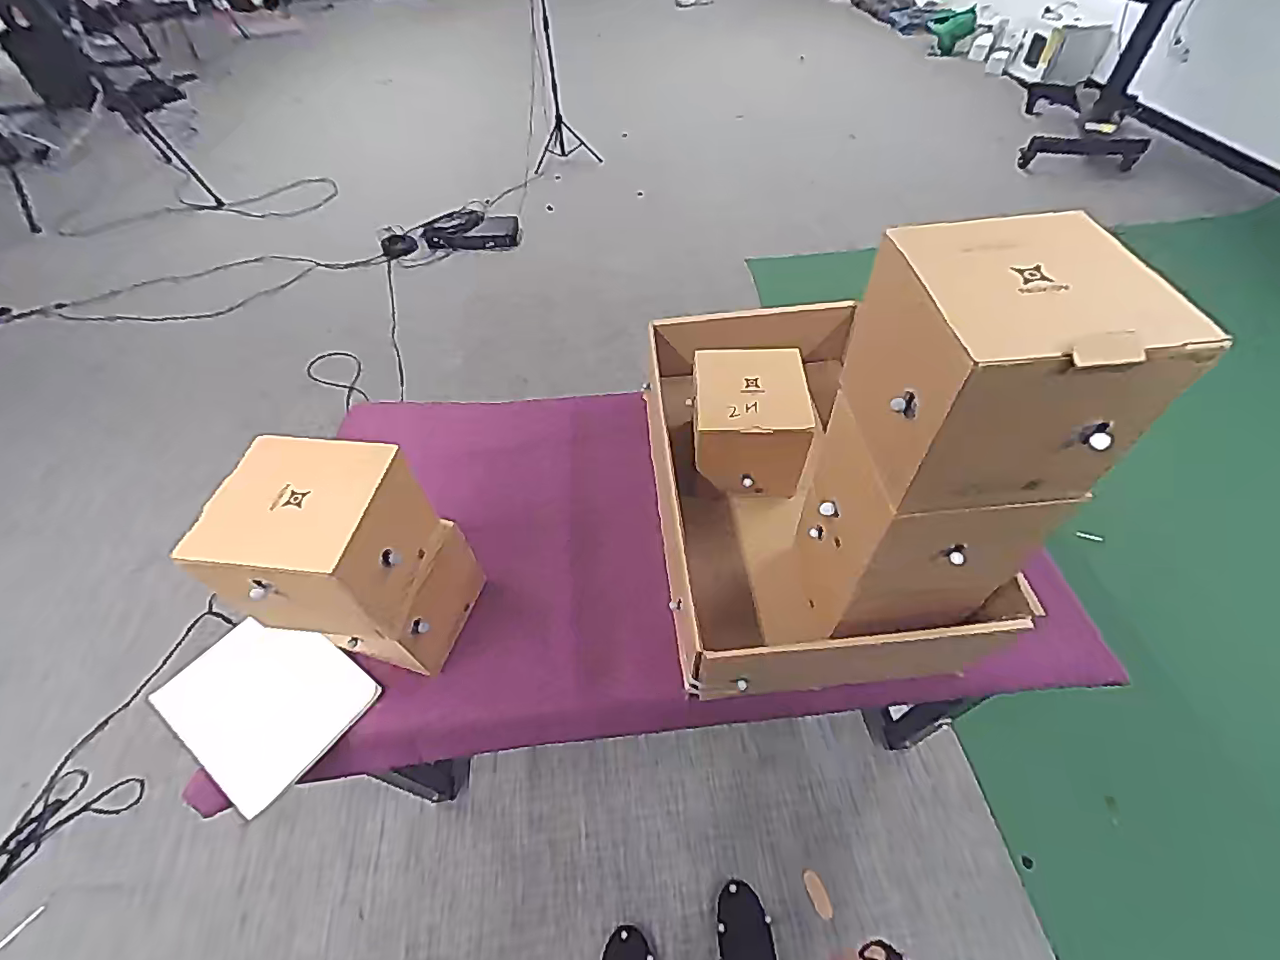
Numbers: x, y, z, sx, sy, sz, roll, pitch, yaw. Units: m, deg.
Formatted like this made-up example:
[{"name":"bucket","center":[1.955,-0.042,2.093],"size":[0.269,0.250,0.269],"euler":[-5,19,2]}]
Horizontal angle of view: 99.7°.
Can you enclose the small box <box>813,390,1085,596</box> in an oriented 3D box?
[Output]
[{"name":"small box","center":[0.304,0.011,0.582],"size":[0.179,0.176,0.168],"euler":[-6,51,2]}]

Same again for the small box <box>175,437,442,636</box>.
[{"name":"small box","center":[-0.359,0.070,0.632],"size":[0.179,0.176,0.168],"euler":[4,52,7]}]

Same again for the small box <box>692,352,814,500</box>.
[{"name":"small box","center":[0.170,-0.086,0.875],"size":[0.168,0.176,0.179],"euler":[0,53,4]}]

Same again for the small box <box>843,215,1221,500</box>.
[{"name":"small box","center":[0.291,-0.095,0.458],"size":[0.168,0.176,0.179],"euler":[-5,51,1]}]
